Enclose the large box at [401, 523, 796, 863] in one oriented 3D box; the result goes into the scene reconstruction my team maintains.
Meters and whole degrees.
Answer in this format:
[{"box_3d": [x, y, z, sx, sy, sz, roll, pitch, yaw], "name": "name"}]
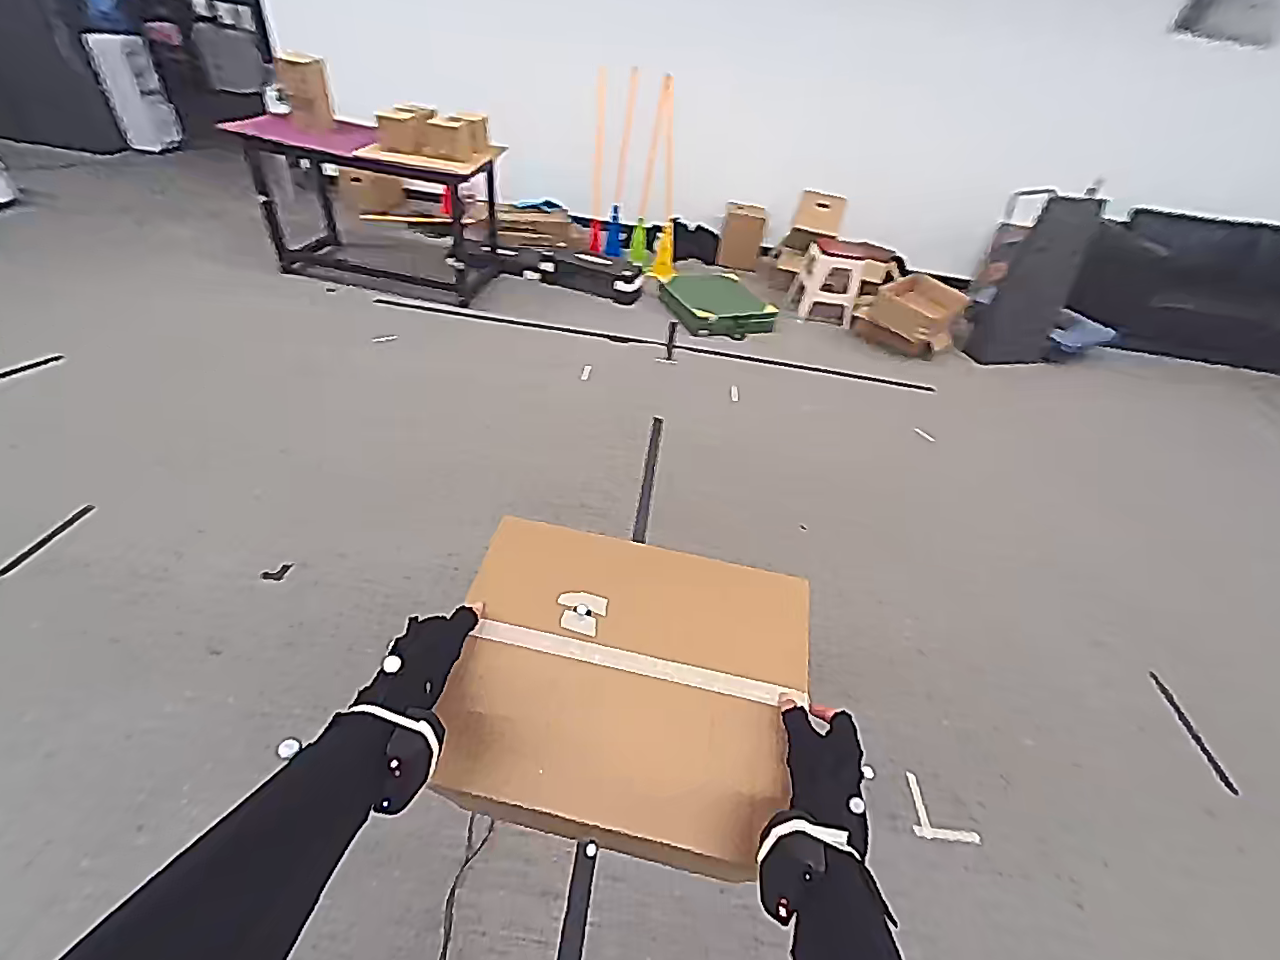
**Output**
[{"box_3d": [-0.026, 0.298, 0.737, 0.408, 0.320, 0.320, 11, 52, 4], "name": "large box"}]
